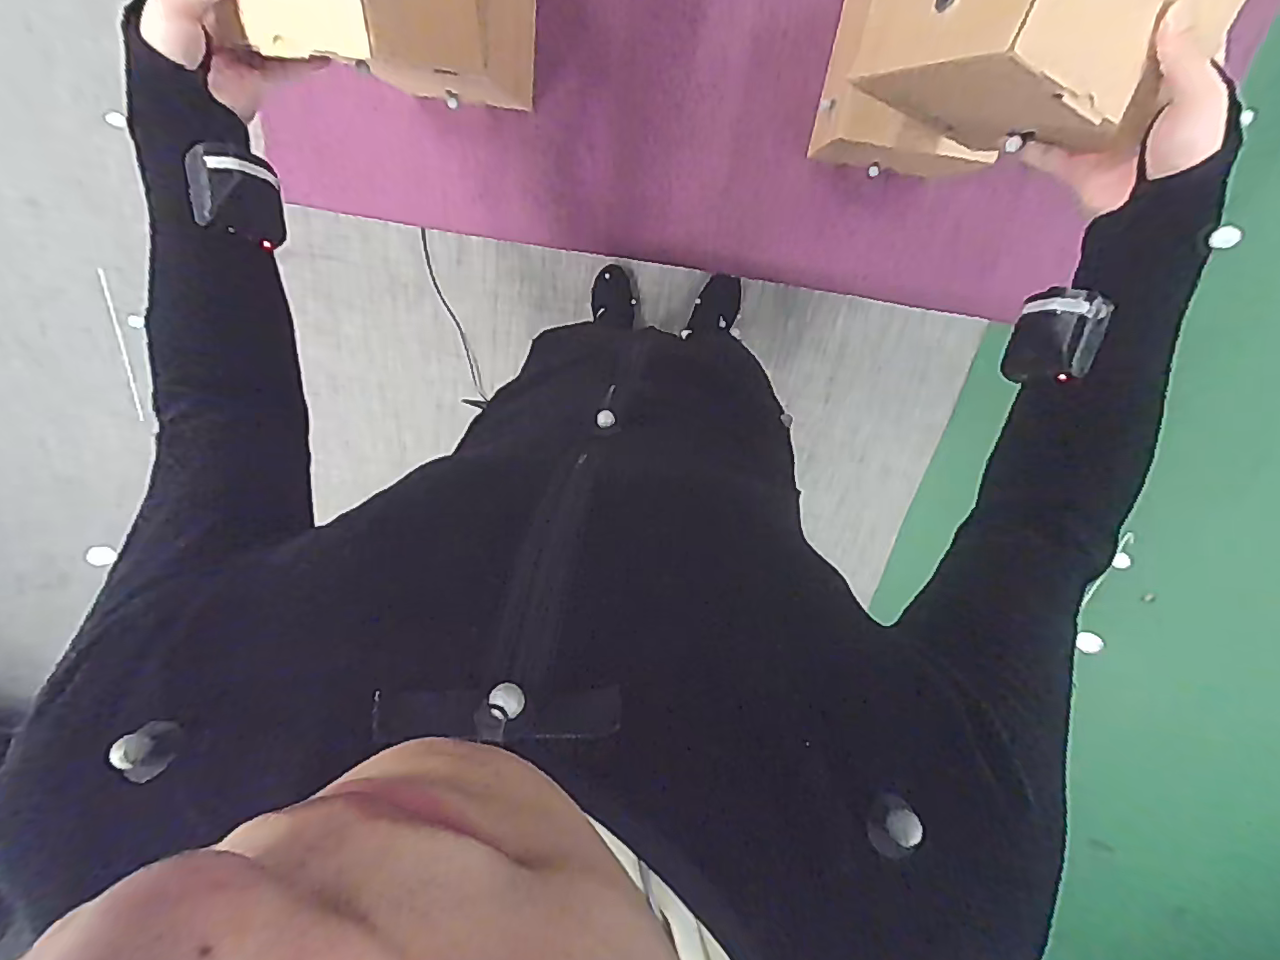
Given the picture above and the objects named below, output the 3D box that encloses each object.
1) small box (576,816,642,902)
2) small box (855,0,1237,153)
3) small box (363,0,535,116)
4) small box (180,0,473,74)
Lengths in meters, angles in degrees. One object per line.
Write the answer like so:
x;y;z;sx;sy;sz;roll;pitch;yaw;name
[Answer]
-0.100;1.291;1.848;0.179;0.176;0.168;19;115;-3;small box
0.289;-0.360;0.389;0.168;0.176;0.179;9;116;-24;small box
-0.222;-0.538;0.607;0.168;0.176;0.179;10;115;2;small box
-0.259;-0.451;0.444;0.168;0.176;0.179;12;127;11;small box
